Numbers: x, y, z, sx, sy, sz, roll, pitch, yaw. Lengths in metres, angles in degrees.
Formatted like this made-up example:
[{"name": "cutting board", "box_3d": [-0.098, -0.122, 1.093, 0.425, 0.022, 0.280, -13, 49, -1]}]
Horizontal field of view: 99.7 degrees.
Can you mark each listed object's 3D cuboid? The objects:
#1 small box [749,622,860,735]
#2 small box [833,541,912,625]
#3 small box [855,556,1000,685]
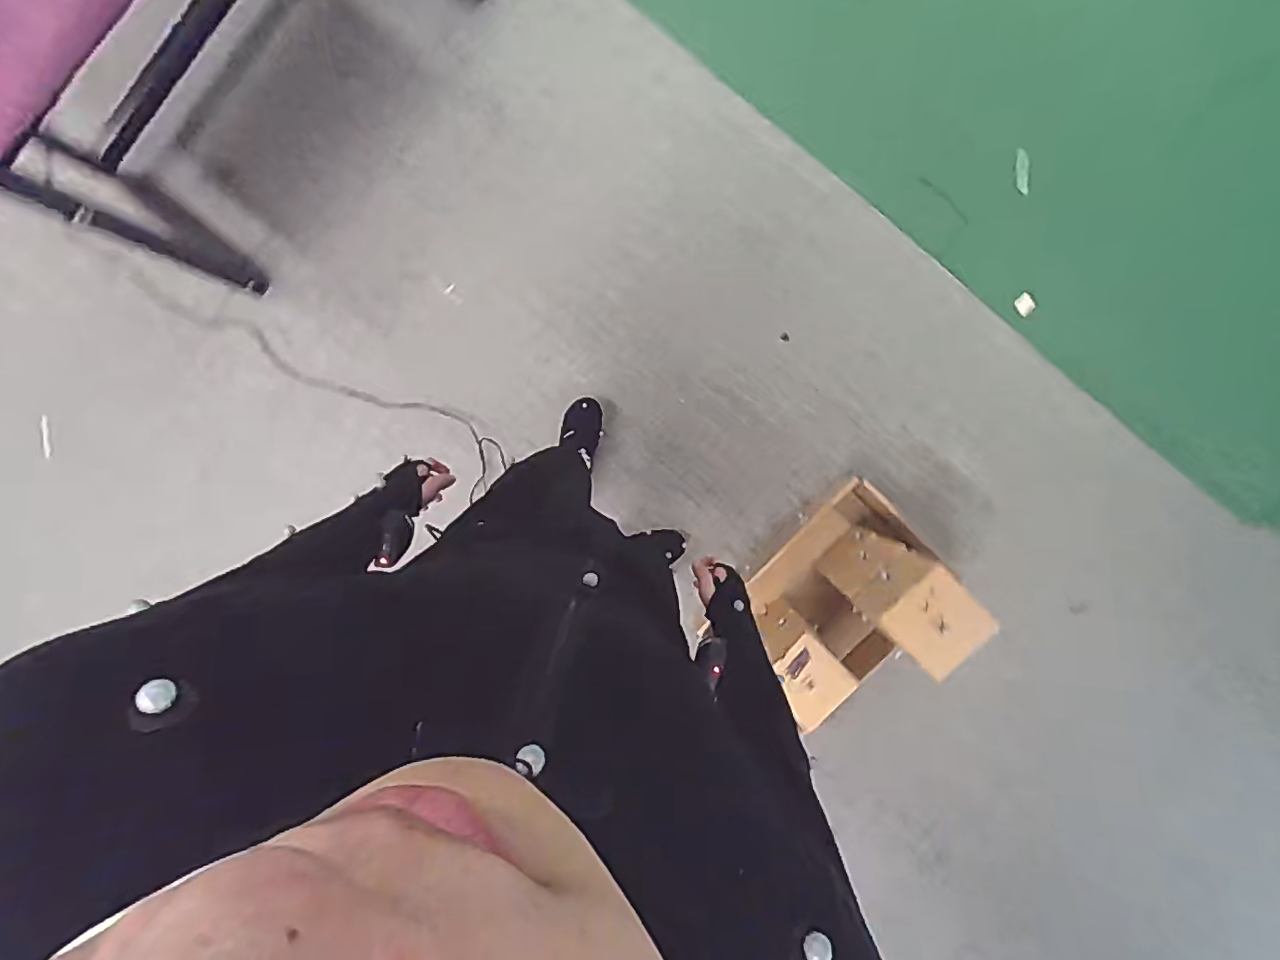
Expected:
[{"name": "small box", "box_3d": [0.388, 0.468, 1.316, 0.168, 0.176, 0.179, -44, 90, 3]}, {"name": "small box", "box_3d": [0.600, 0.268, 1.299, 0.168, 0.176, 0.179, -44, 89, 5]}, {"name": "small box", "box_3d": [0.590, 0.283, 1.135, 0.168, 0.176, 0.179, -43, 89, 5]}]
